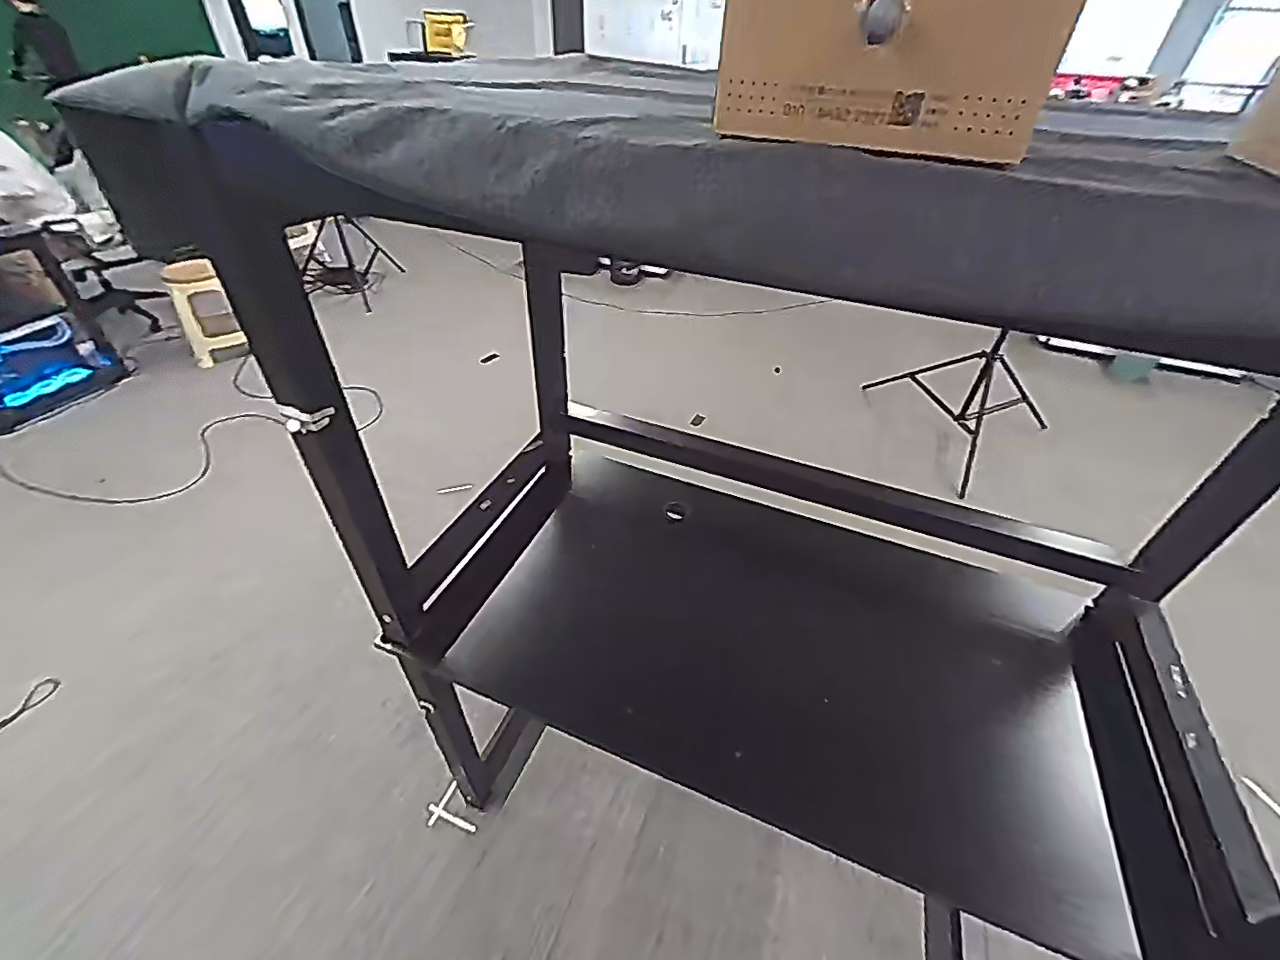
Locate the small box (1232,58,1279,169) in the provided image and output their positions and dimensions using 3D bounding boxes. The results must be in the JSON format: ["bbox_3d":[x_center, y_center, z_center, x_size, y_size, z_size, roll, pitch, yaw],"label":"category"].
[{"bbox_3d":[0.434,-0.219,0.232,0.168,0.176,0.179,19,41,19],"label":"small box"}]

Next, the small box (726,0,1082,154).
[{"bbox_3d":[0.156,-0.299,0.310,0.168,0.176,0.179,16,39,16],"label":"small box"}]
